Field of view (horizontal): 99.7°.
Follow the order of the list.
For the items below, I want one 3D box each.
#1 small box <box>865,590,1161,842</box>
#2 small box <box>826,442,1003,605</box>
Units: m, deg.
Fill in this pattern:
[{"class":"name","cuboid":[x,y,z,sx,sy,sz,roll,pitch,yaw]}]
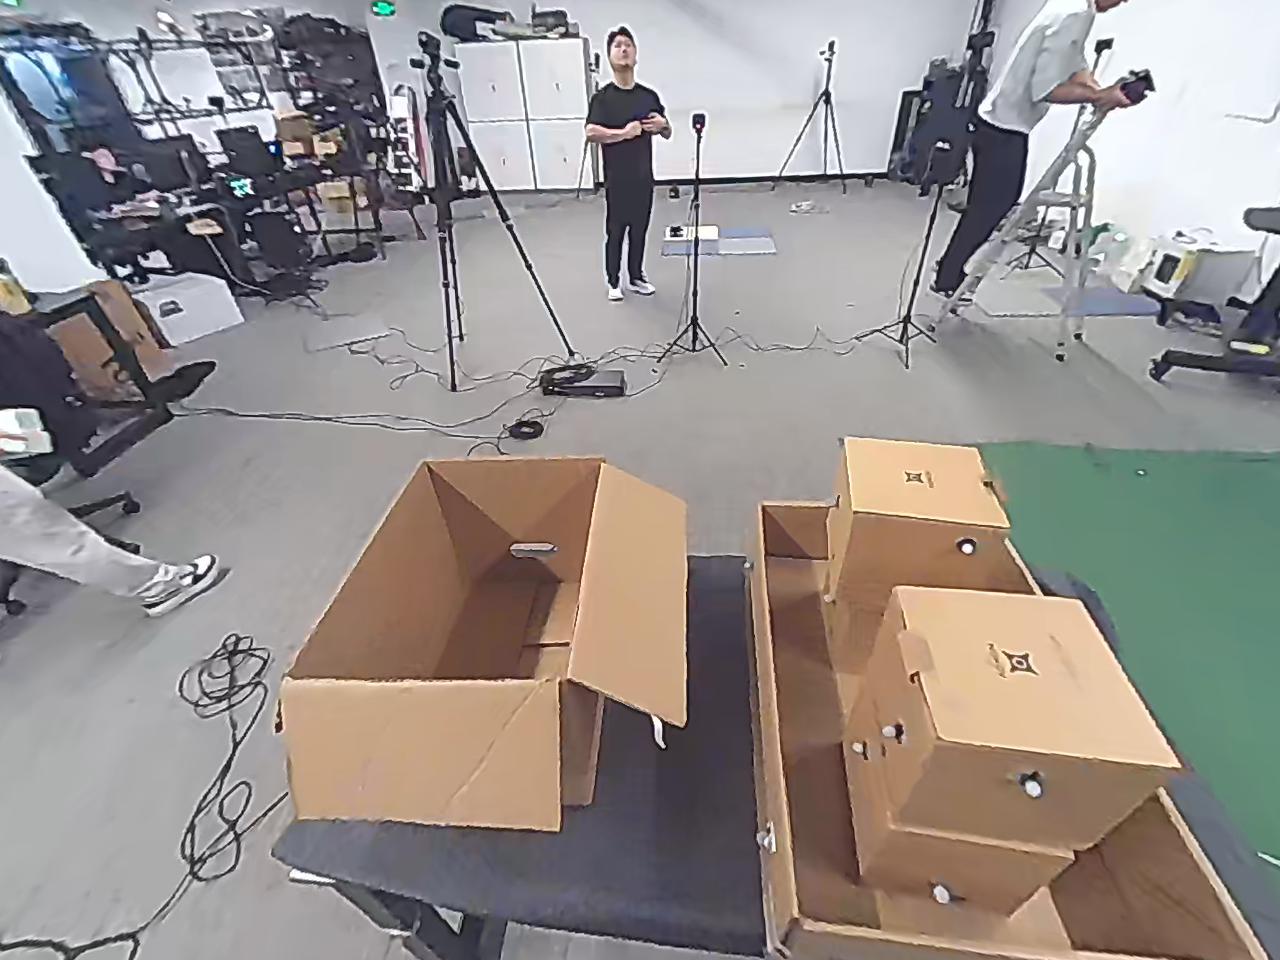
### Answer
[{"class":"small box","cuboid":[0.337,0.234,0.541,0.179,0.176,0.168,4,39,8]},{"class":"small box","cuboid":[0.360,0.067,0.752,0.179,0.176,0.168,7,40,11]}]
